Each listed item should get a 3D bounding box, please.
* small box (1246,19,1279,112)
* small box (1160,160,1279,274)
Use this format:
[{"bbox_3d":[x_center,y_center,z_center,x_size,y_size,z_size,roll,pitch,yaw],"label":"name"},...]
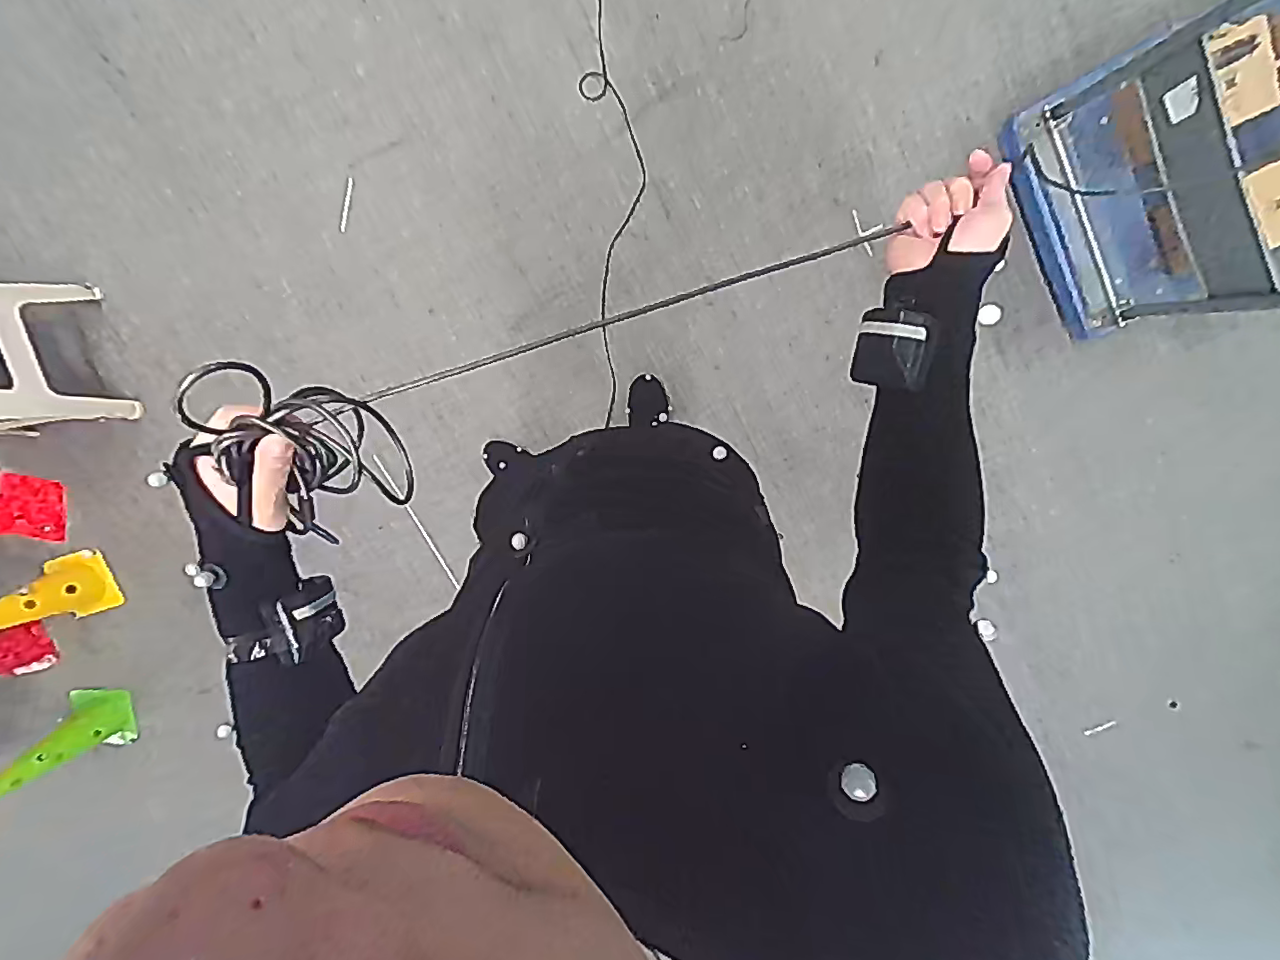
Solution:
[{"bbox_3d":[1.418,-0.907,1.106,0.179,0.176,0.168,-31,100,8],"label":"small box"},{"bbox_3d":[1.313,-0.575,1.180,0.179,0.176,0.168,-26,100,8],"label":"small box"}]
